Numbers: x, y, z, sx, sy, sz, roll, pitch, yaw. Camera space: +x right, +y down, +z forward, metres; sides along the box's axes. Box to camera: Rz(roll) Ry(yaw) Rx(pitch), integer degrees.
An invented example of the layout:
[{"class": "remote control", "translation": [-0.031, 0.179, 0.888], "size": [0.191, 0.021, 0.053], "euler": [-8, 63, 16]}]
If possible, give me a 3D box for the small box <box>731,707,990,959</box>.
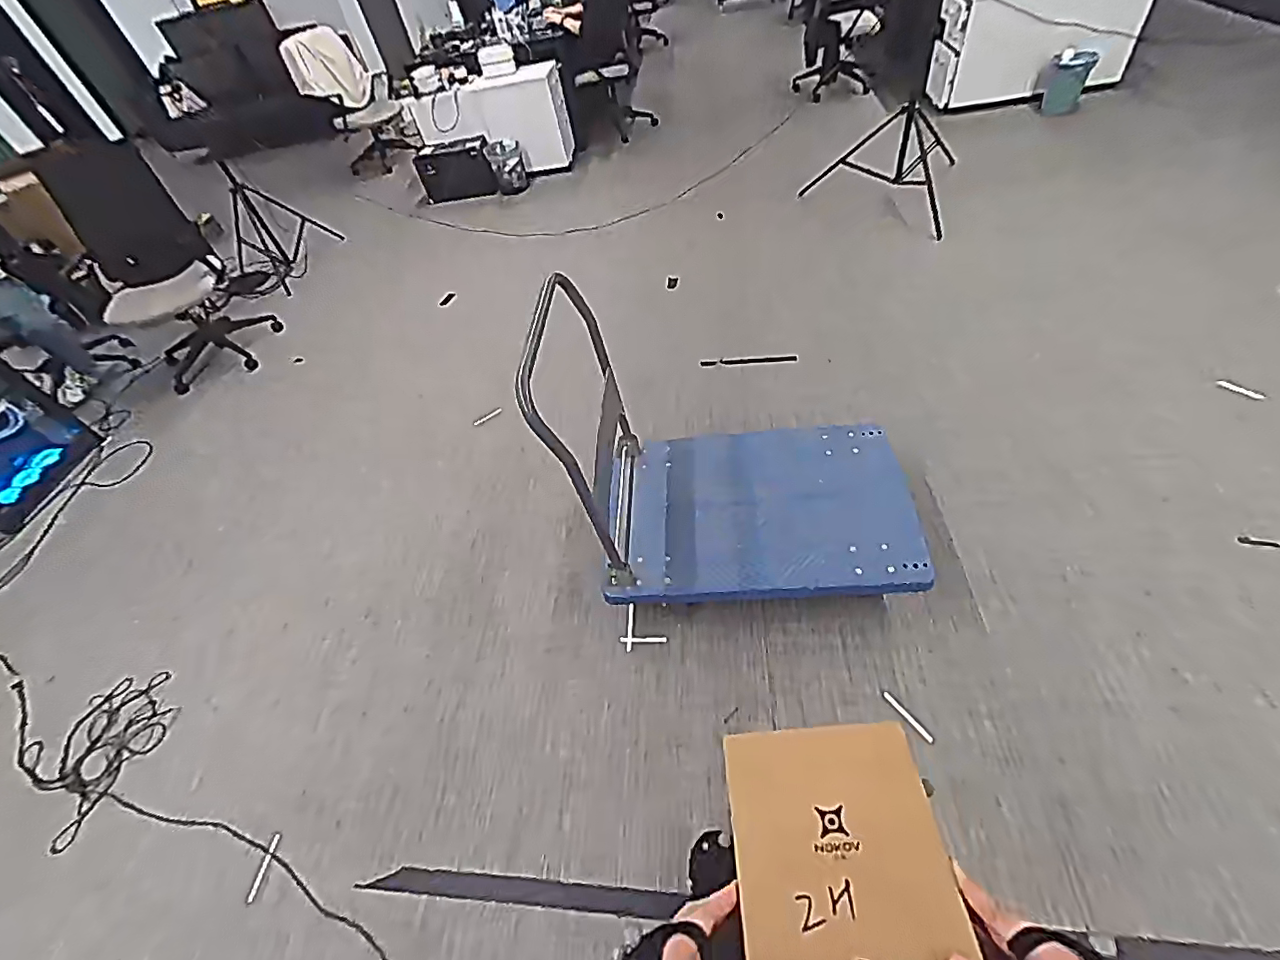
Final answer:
[{"class": "small box", "translation": [0.181, 0.337, 0.500], "size": [0.168, 0.176, 0.179], "euler": [-9, 42, 8]}]
